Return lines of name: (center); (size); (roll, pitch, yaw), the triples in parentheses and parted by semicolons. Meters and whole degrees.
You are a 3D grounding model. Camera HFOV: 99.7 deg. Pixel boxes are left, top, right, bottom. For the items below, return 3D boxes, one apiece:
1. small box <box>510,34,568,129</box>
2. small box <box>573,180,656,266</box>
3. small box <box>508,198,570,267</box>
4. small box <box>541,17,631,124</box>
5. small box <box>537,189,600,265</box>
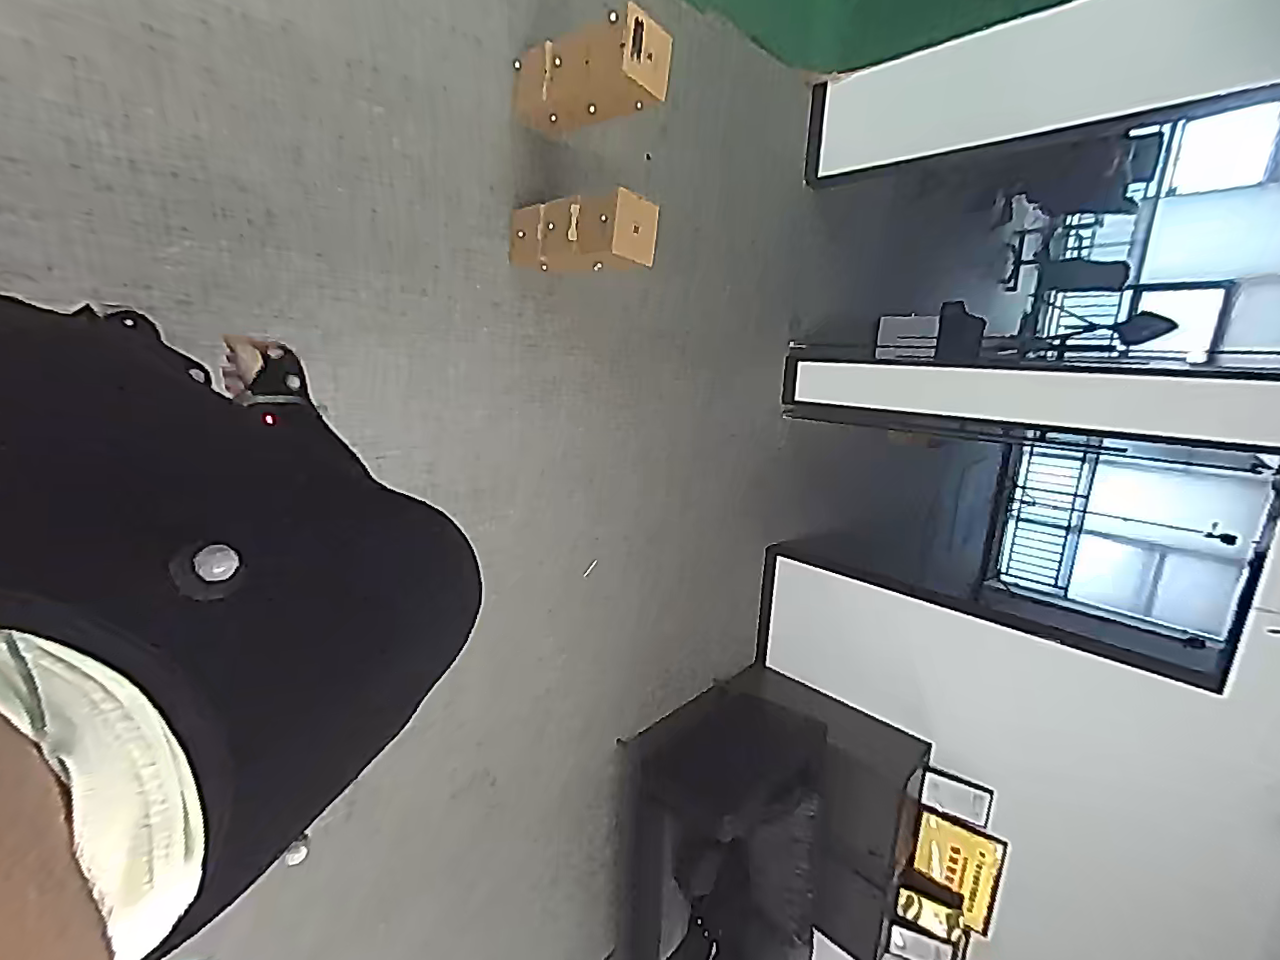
small box: (-0.288, -1.237, 1.698); (0.179, 0.176, 0.168); (-3, 104, -48)
small box: (-0.078, -0.741, 1.579); (0.168, 0.176, 0.179); (-1, 102, -47)
small box: (-0.321, -0.810, 1.788); (0.179, 0.176, 0.168); (-6, 106, -46)
small box: (-0.163, -1.211, 1.609); (0.168, 0.176, 0.179); (42, 69, -43)
small box: (-0.195, -0.779, 1.686); (0.179, 0.176, 0.168); (-1, 101, -47)
